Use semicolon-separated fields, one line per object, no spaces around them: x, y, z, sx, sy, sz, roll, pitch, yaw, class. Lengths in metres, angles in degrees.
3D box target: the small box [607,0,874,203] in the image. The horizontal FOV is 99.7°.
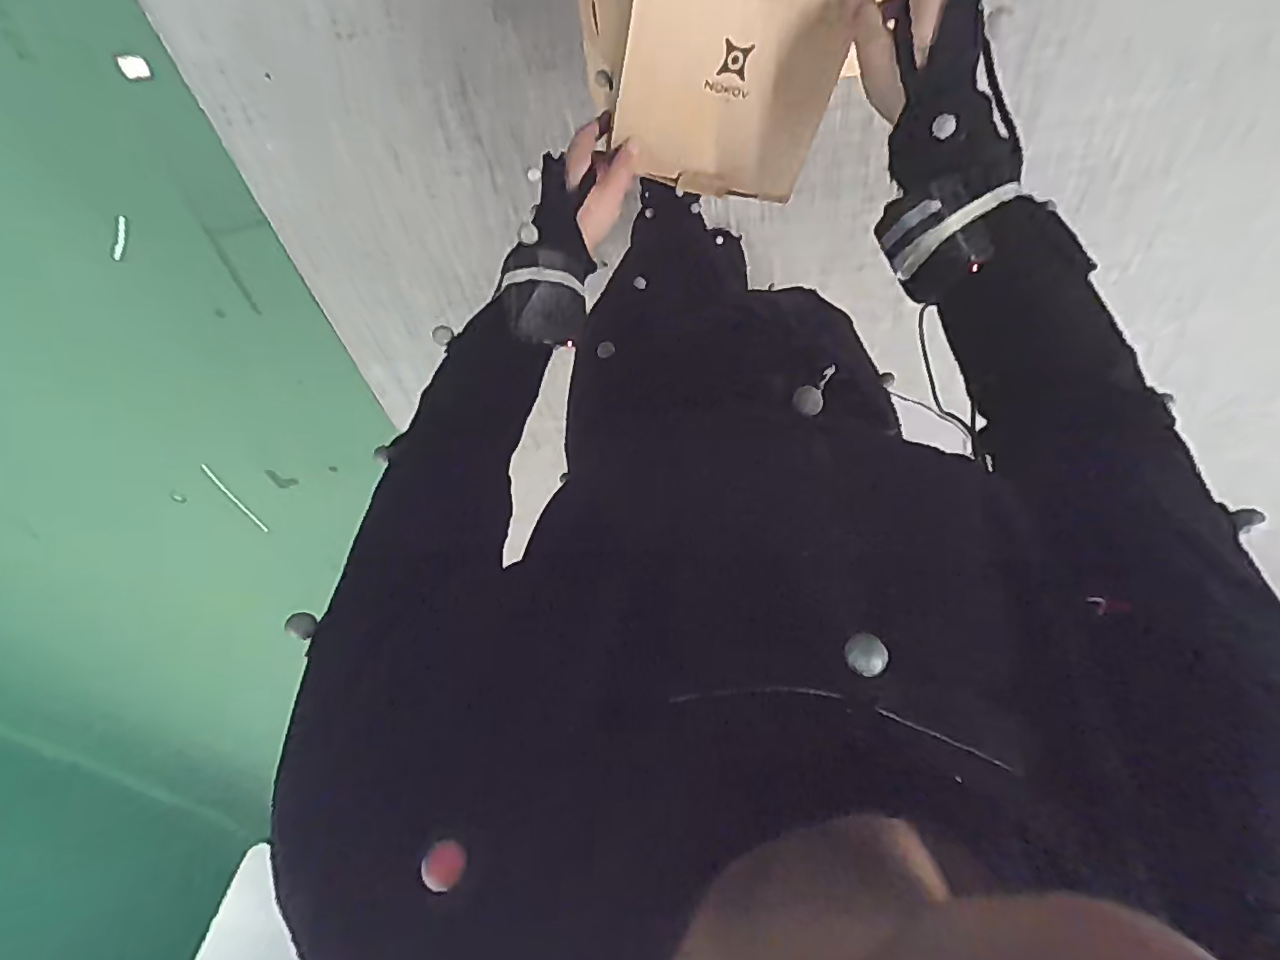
0.066;-0.368;0.451;0.168;0.176;0.179;4;139;-12;small box
